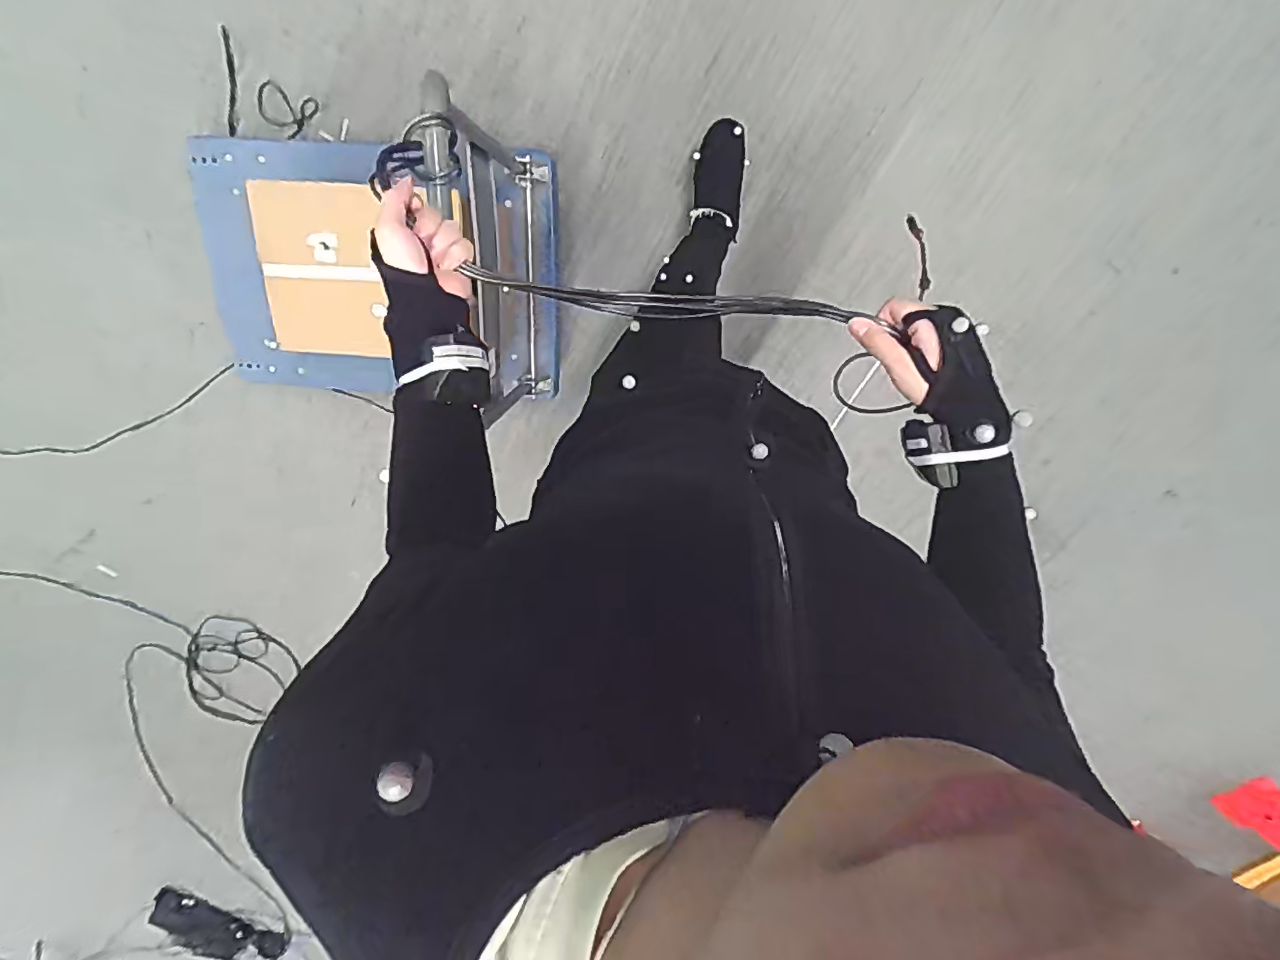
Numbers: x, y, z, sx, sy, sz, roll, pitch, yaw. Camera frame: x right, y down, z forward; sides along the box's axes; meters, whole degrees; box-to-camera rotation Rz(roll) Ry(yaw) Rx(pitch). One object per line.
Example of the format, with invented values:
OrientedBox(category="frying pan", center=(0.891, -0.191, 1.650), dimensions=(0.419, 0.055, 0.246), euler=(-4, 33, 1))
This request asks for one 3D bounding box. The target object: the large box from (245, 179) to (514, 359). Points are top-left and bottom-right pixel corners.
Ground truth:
OrientedBox(category="large box", center=(-0.518, -0.451, 1.168), dimensions=(0.408, 0.320, 0.320), euler=(4, 111, 4))
